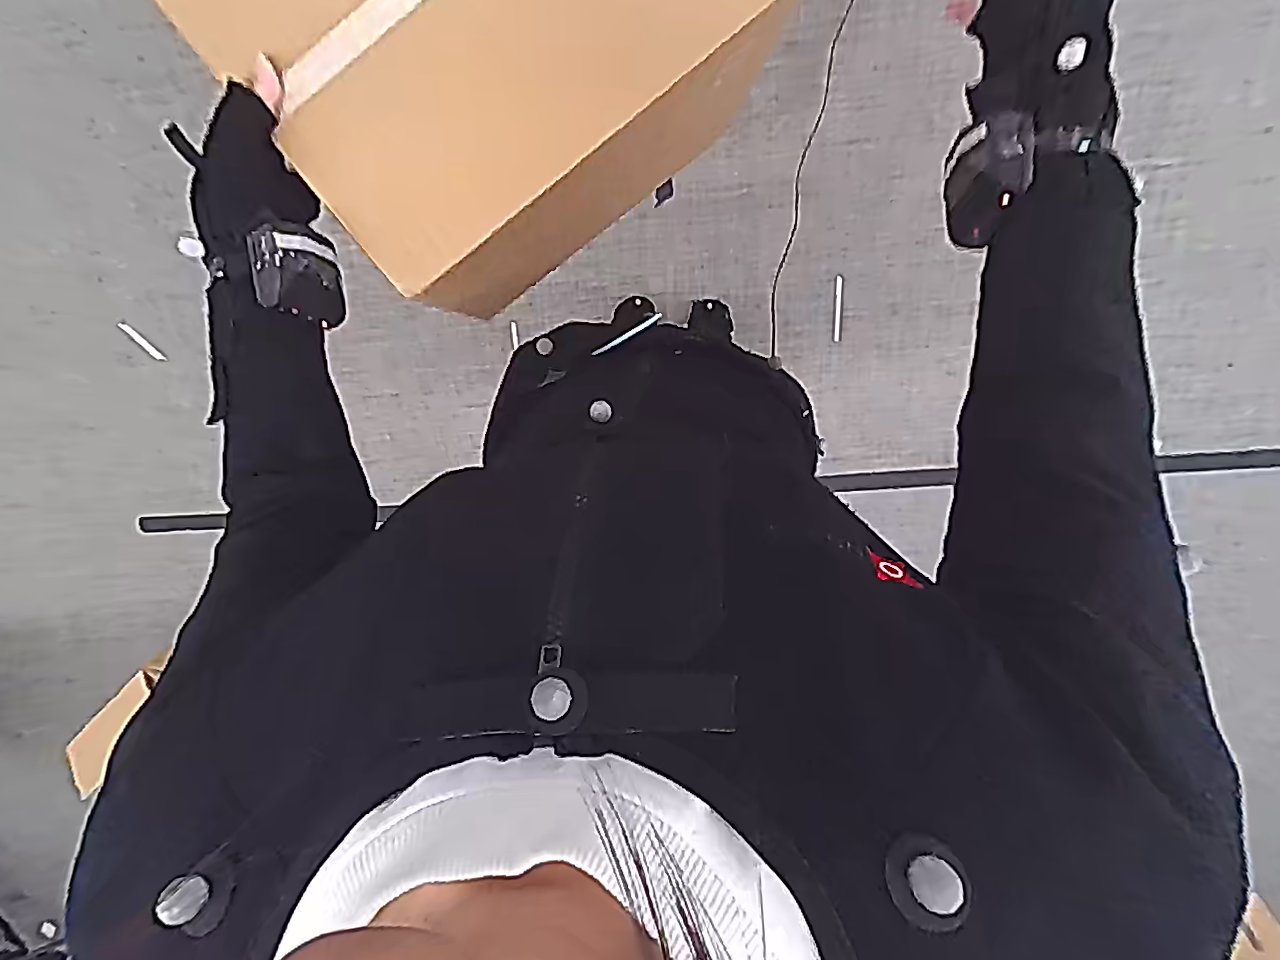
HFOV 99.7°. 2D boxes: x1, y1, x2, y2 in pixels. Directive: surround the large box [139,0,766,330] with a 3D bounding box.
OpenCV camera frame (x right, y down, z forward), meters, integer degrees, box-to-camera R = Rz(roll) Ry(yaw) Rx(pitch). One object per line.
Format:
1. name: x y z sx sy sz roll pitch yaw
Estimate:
1. large box: -0.146 -0.411 0.551 0.408 0.320 0.320 -39 102 4
